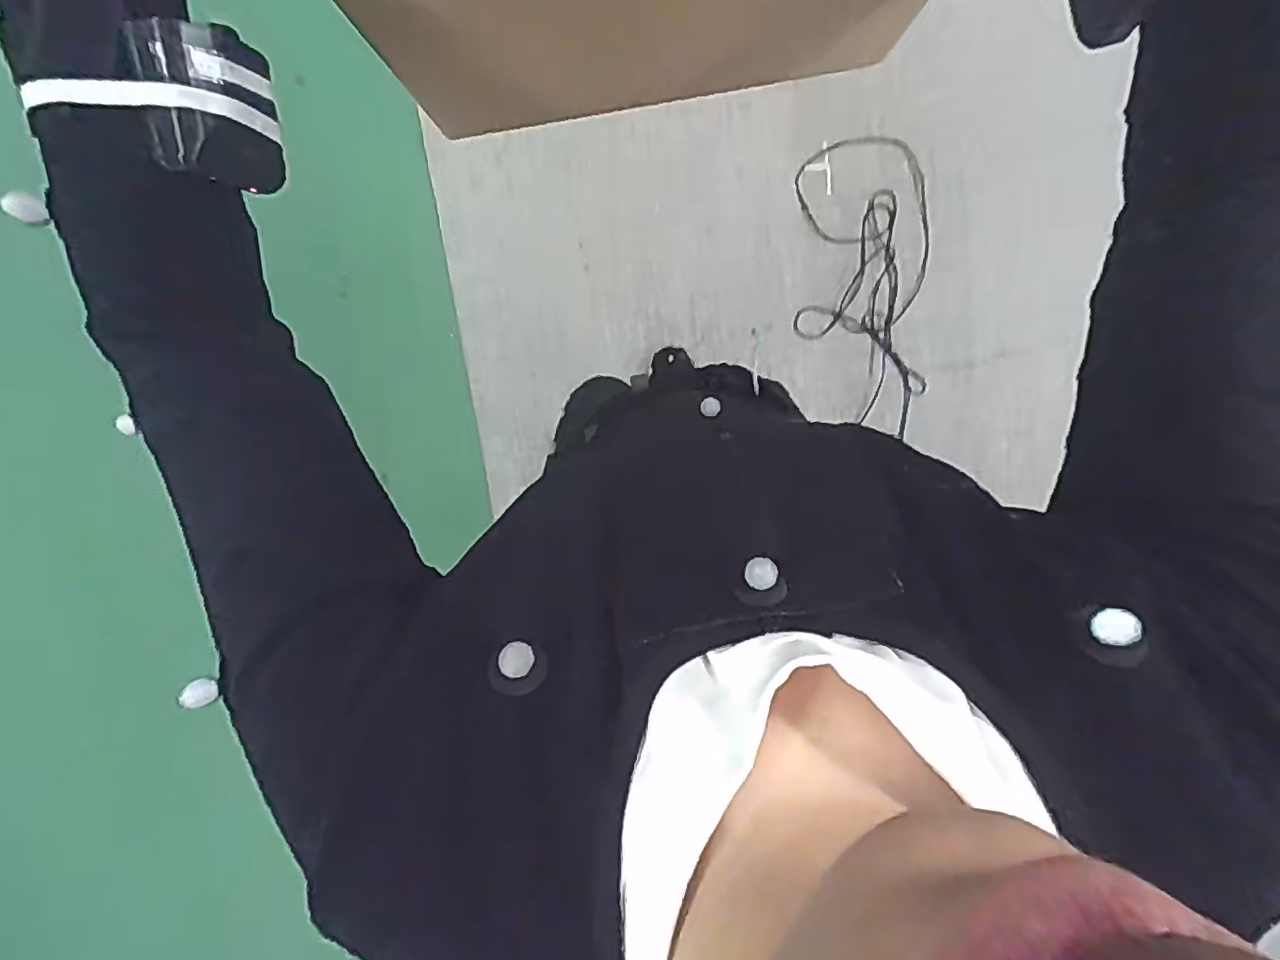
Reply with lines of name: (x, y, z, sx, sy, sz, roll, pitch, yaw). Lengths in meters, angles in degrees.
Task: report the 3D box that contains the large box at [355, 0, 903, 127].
large box: (-0.009, -0.474, 0.319, 0.408, 0.320, 0.320, -9, 101, 2)
